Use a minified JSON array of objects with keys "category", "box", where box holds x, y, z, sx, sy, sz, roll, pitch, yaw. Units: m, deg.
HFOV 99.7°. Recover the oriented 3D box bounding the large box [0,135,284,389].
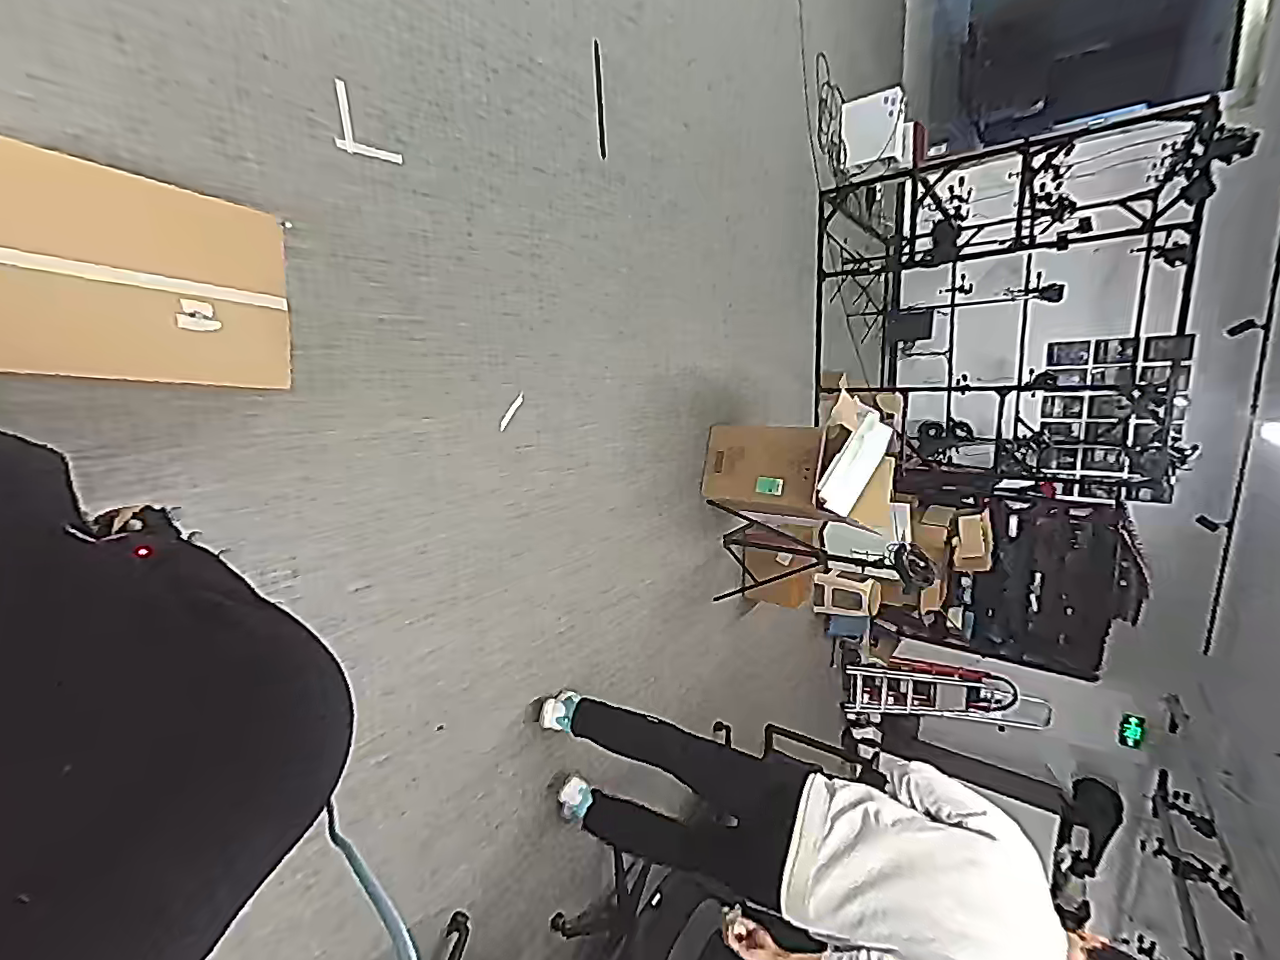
[{"category":"large box","box":[-0.899,-0.323,0.915,0.408,0.320,0.320,-7,100,-55]}]
